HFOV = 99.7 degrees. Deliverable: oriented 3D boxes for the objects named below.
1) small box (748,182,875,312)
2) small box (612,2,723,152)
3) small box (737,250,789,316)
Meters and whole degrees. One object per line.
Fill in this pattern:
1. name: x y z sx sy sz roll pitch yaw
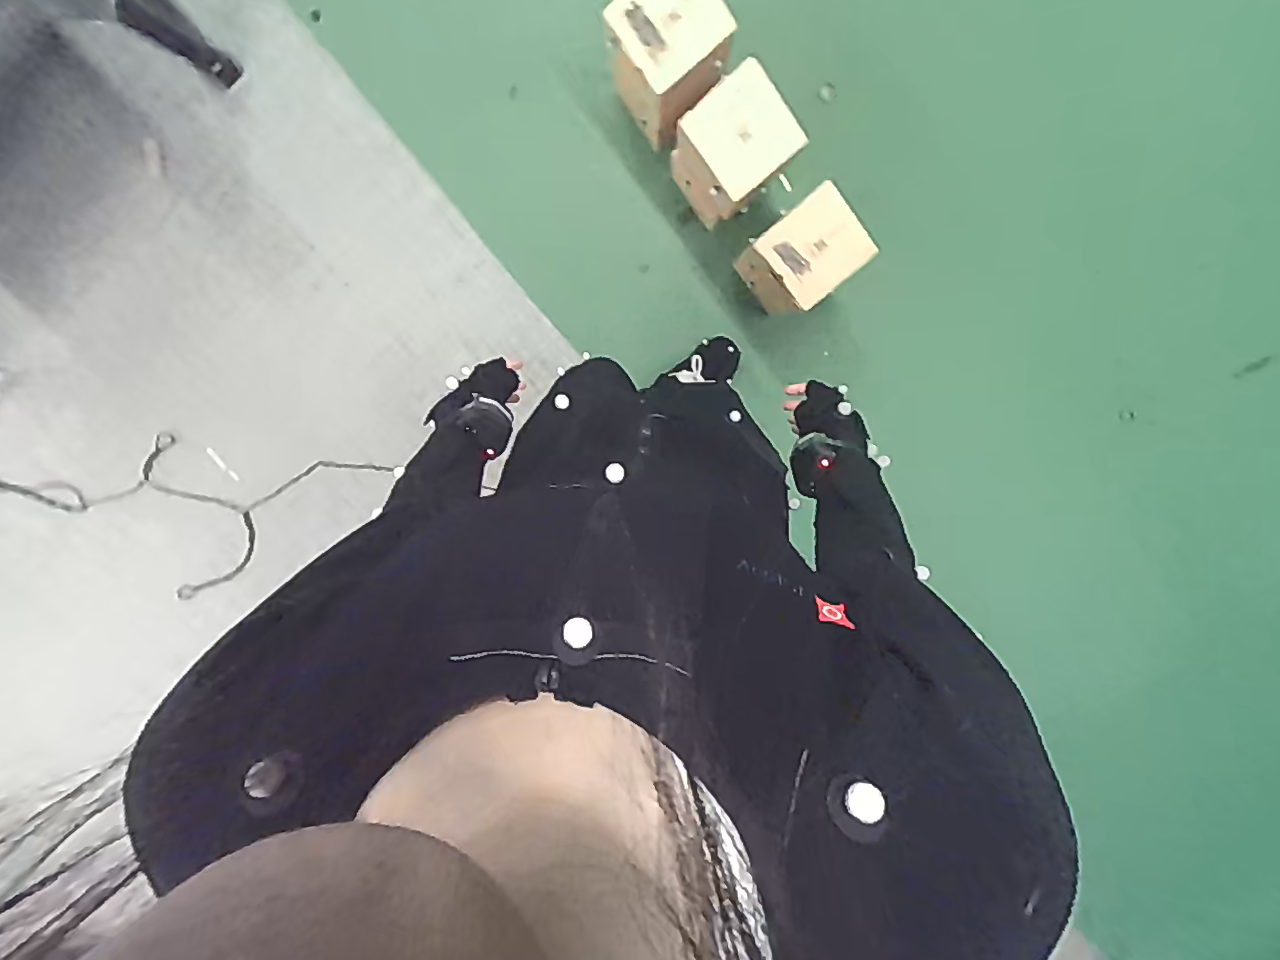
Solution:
1. small box: 0.339 -0.462 1.109 0.179 0.176 0.168 -38 100 12
2. small box: 0.063 -0.866 1.187 0.179 0.176 0.168 -33 101 11
3. small box: 0.347 -0.506 1.268 0.179 0.176 0.168 -38 100 12
